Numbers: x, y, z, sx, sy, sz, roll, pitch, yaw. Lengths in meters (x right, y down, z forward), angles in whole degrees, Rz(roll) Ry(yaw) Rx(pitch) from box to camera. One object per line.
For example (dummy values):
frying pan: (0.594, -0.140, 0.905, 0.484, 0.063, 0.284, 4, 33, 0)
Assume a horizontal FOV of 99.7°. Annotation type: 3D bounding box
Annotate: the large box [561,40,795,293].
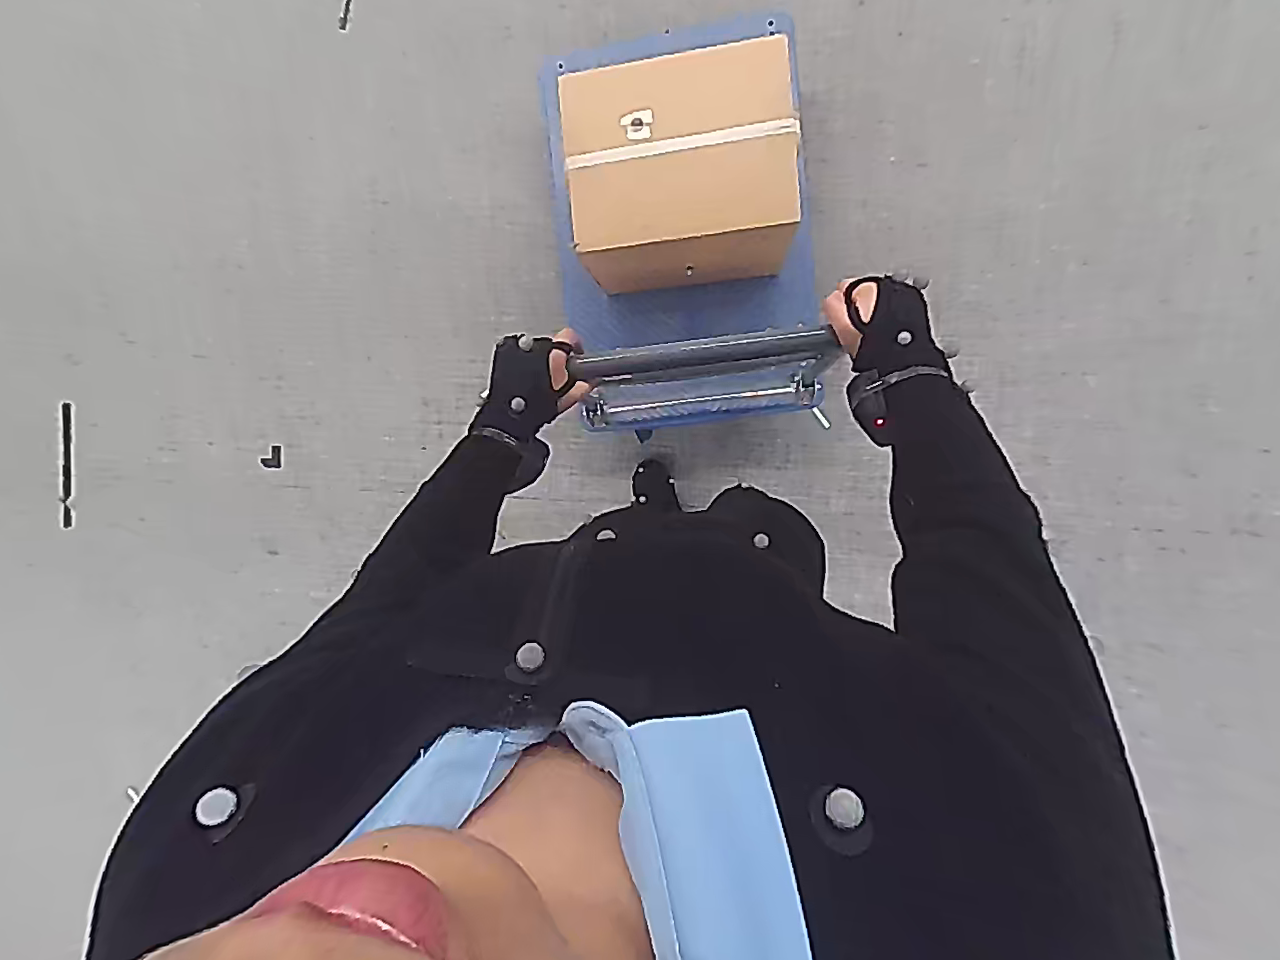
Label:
large box: (0.086, -0.604, 1.119, 0.408, 0.320, 0.320, -5, 93, 9)
